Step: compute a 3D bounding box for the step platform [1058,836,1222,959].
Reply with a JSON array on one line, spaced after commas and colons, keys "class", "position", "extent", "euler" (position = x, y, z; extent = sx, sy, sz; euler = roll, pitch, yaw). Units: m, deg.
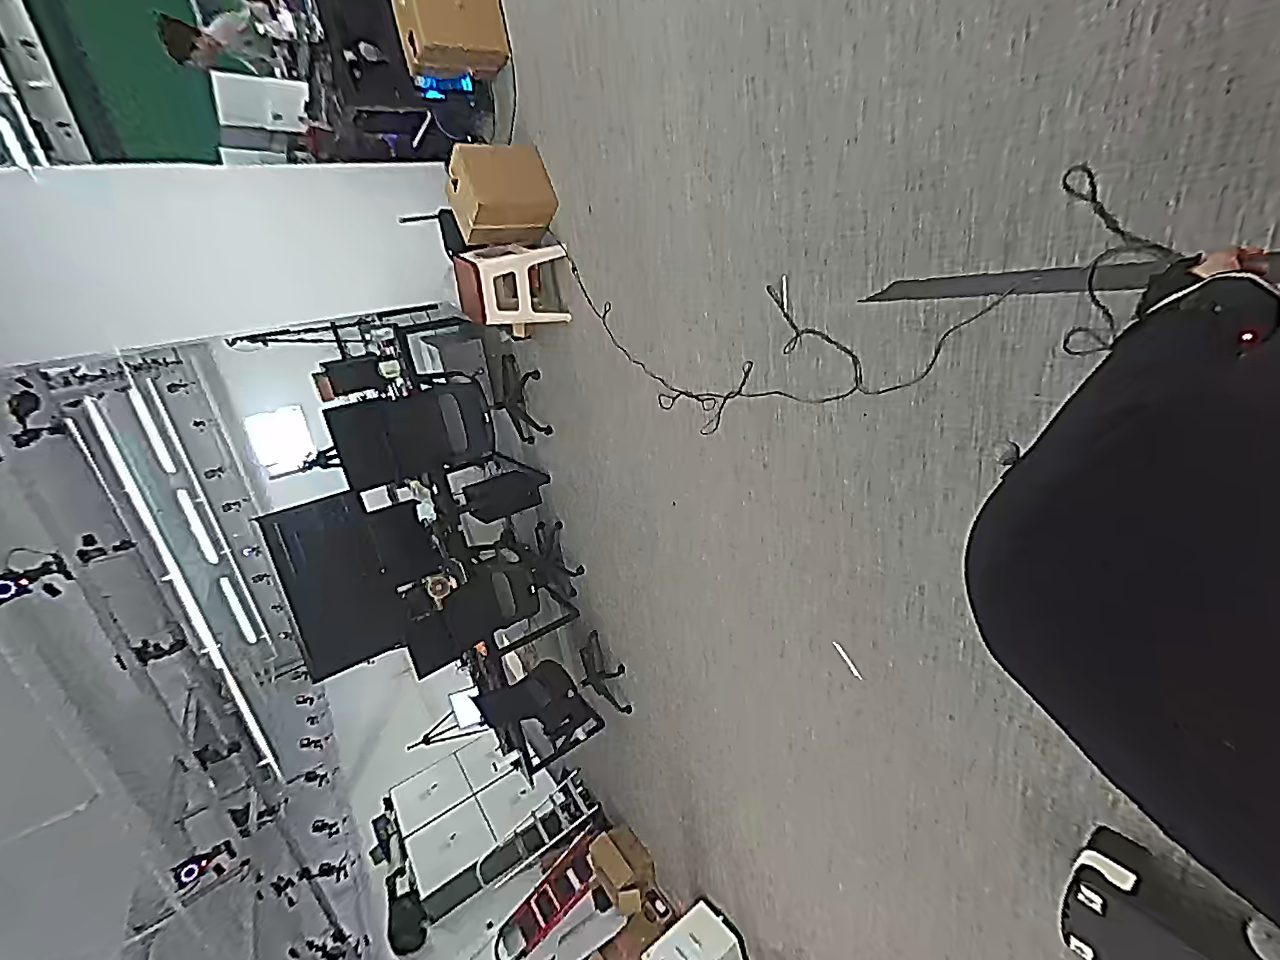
[{"class": "step platform", "position": [1.350, 1.164, 1.188], "extent": [0.684, 0.204, 0.286], "euler": [19, 124, 52]}]
